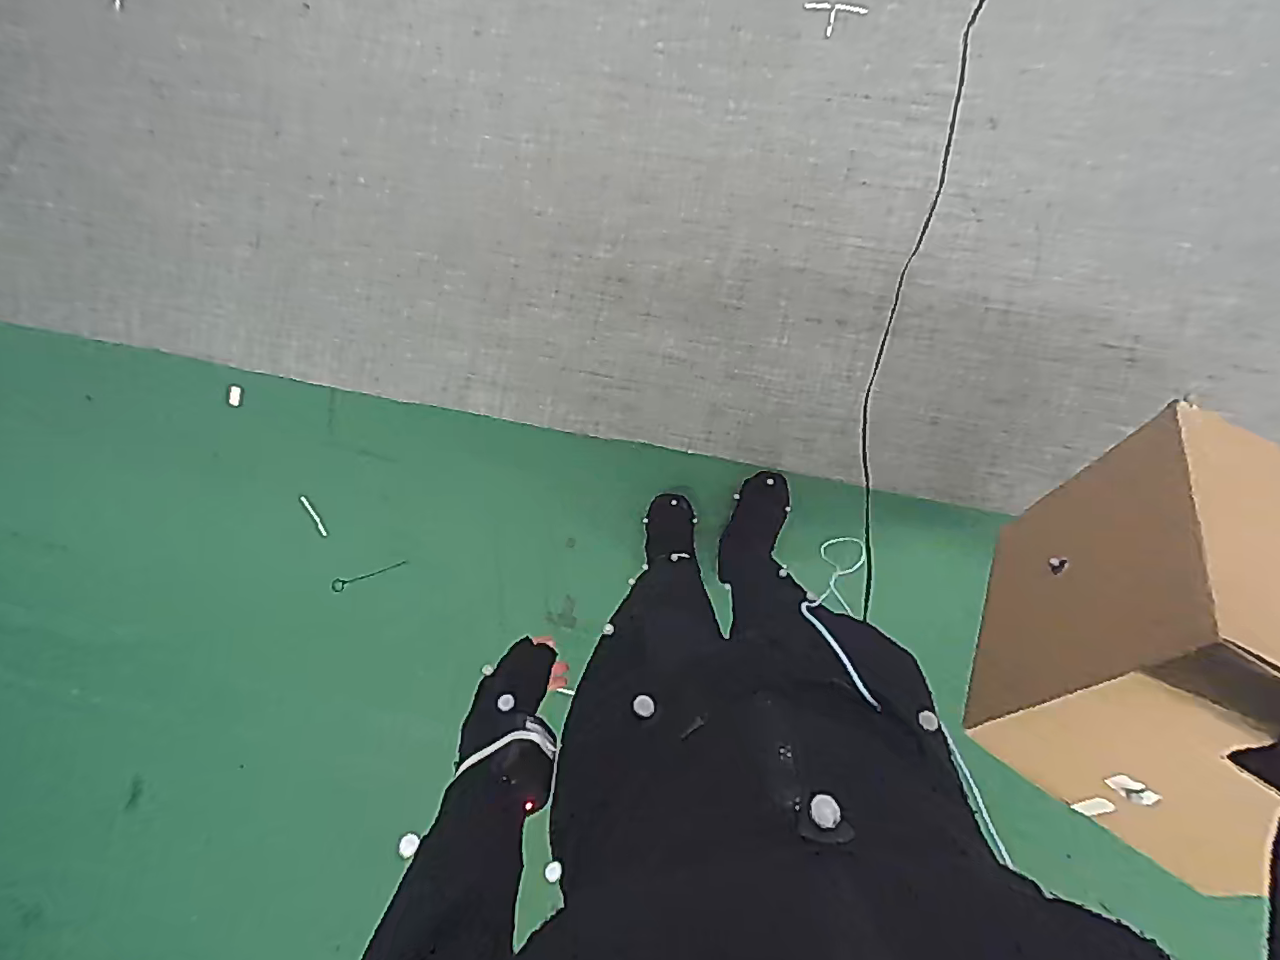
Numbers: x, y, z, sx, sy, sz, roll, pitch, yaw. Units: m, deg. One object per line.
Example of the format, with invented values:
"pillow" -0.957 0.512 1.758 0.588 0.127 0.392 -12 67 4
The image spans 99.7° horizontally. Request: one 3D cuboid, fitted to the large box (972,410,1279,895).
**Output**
"large box" 0.667 0.195 0.661 0.320 0.408 0.320 33 140 10
